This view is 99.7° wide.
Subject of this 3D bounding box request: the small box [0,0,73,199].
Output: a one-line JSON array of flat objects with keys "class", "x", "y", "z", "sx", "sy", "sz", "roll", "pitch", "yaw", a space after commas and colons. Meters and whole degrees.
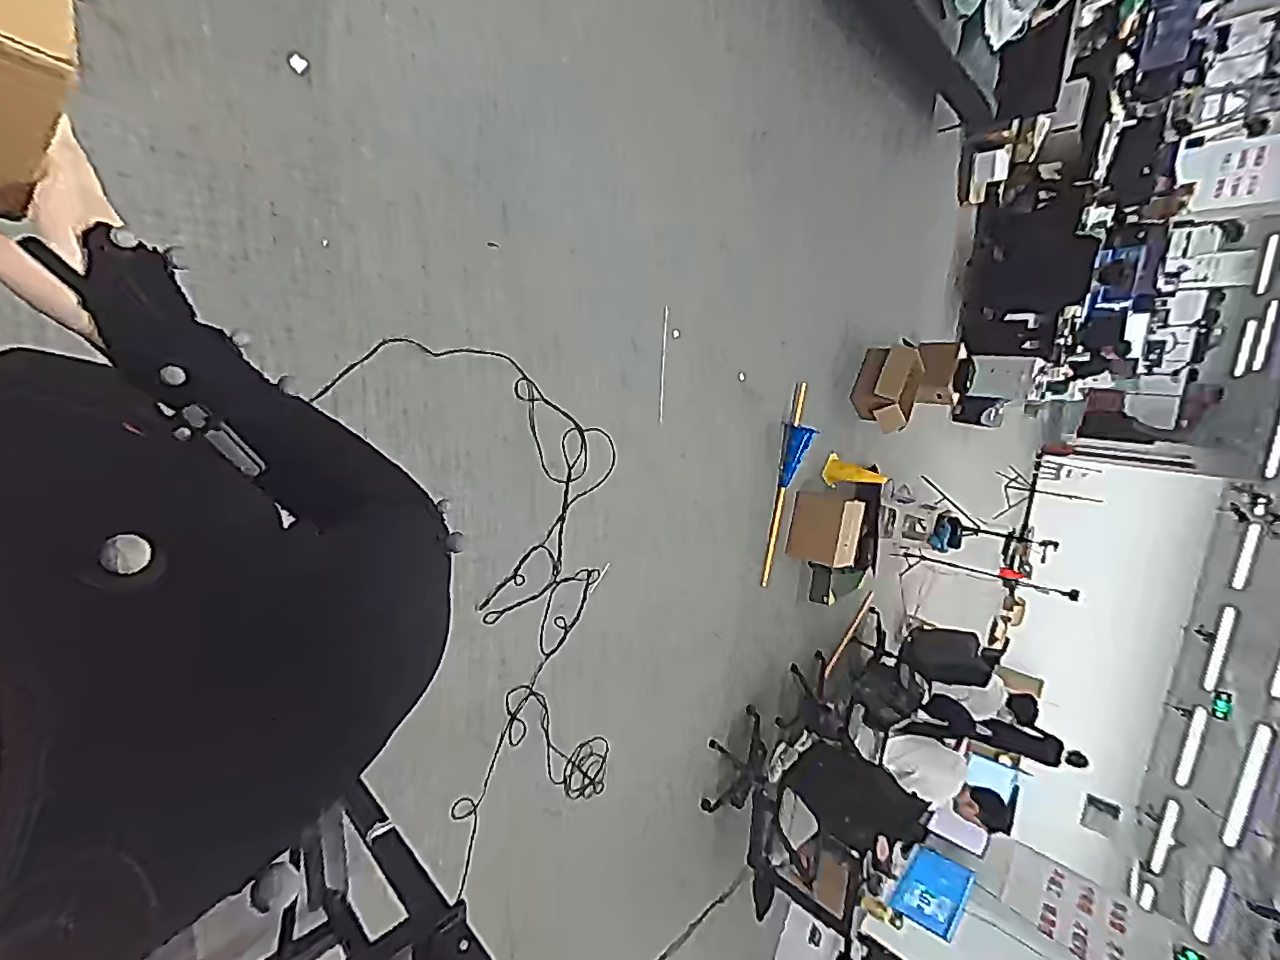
[{"class": "small box", "x": -0.383, "y": -0.266, "z": 0.235, "sx": 0.168, "sy": 0.176, "sz": 0.179, "roll": 0, "pitch": 83, "yaw": -55}]
